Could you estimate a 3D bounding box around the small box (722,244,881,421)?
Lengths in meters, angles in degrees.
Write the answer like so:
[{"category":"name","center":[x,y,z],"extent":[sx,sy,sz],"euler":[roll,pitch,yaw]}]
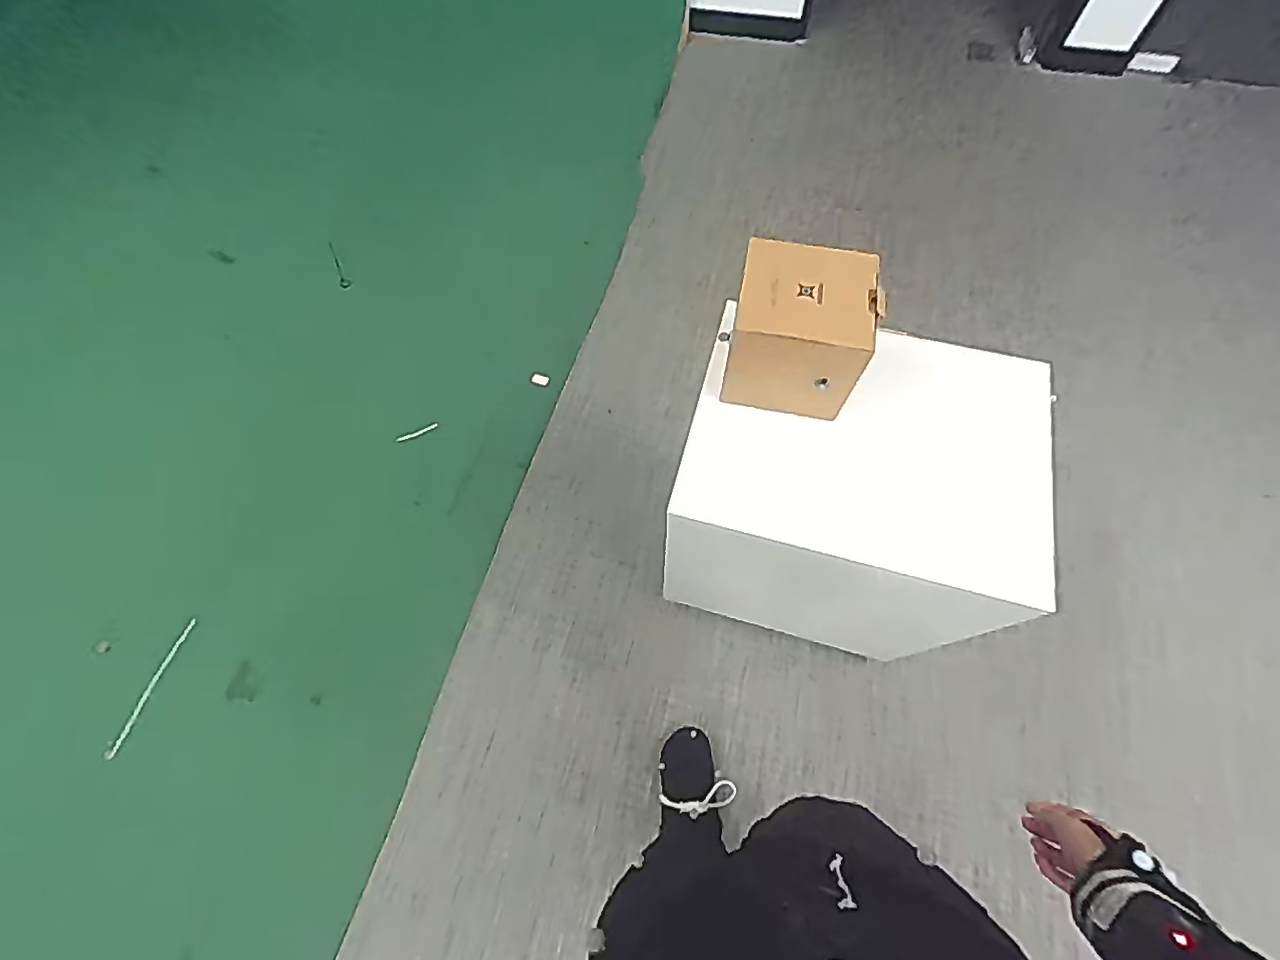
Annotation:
[{"category":"small box","center":[0.222,-0.201,0.769],"extent":[0.179,0.176,0.168],"euler":[10,65,7]}]
